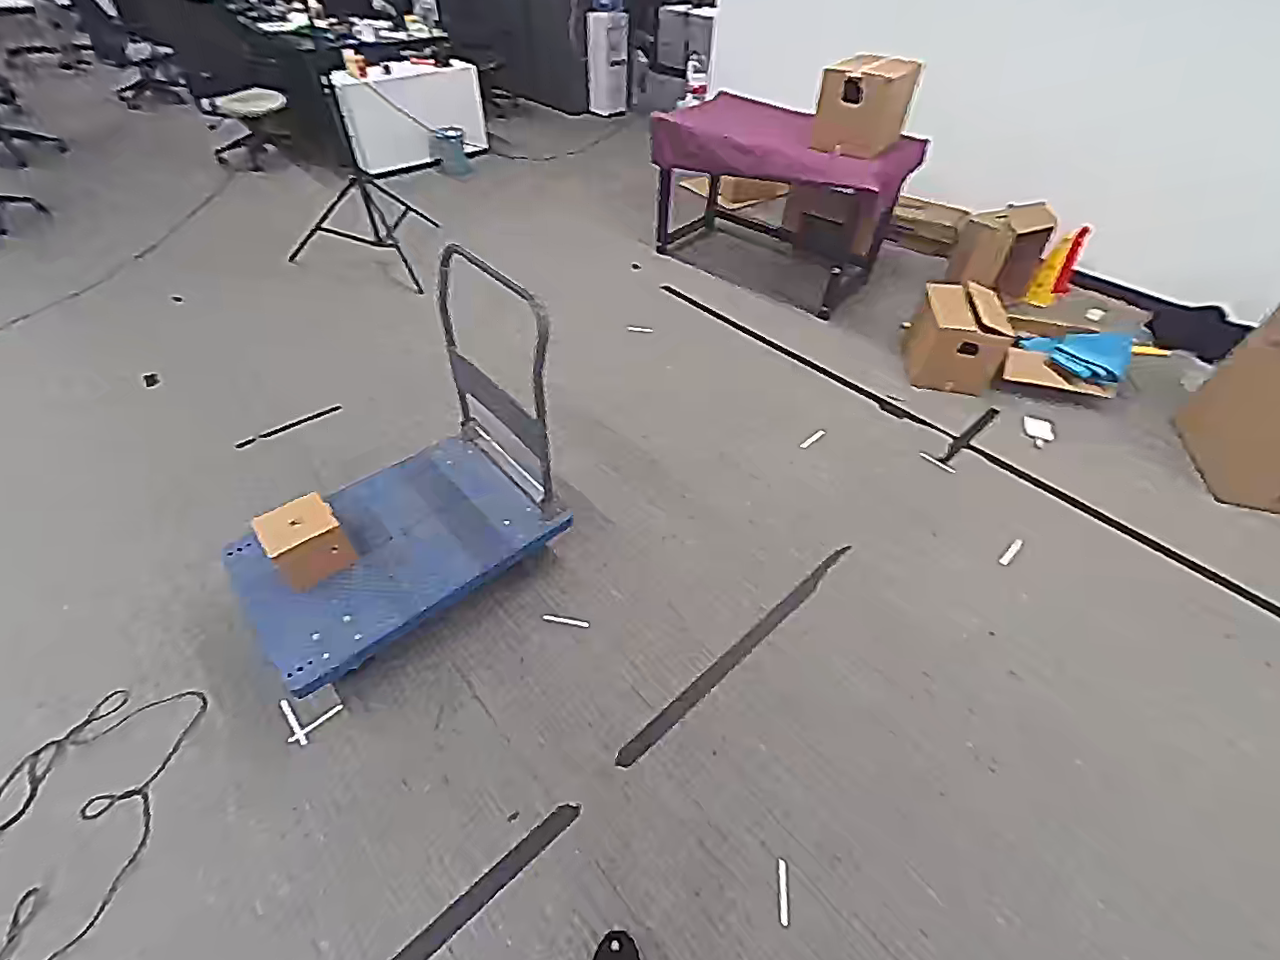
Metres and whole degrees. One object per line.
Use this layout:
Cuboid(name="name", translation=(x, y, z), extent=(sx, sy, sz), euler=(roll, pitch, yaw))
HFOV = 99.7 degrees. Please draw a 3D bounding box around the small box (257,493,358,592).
Cuboid(name="small box", translation=(-0.917, 0.175, 1.510), extent=(0.179, 0.176, 0.168), euler=(-32, 55, -28))
